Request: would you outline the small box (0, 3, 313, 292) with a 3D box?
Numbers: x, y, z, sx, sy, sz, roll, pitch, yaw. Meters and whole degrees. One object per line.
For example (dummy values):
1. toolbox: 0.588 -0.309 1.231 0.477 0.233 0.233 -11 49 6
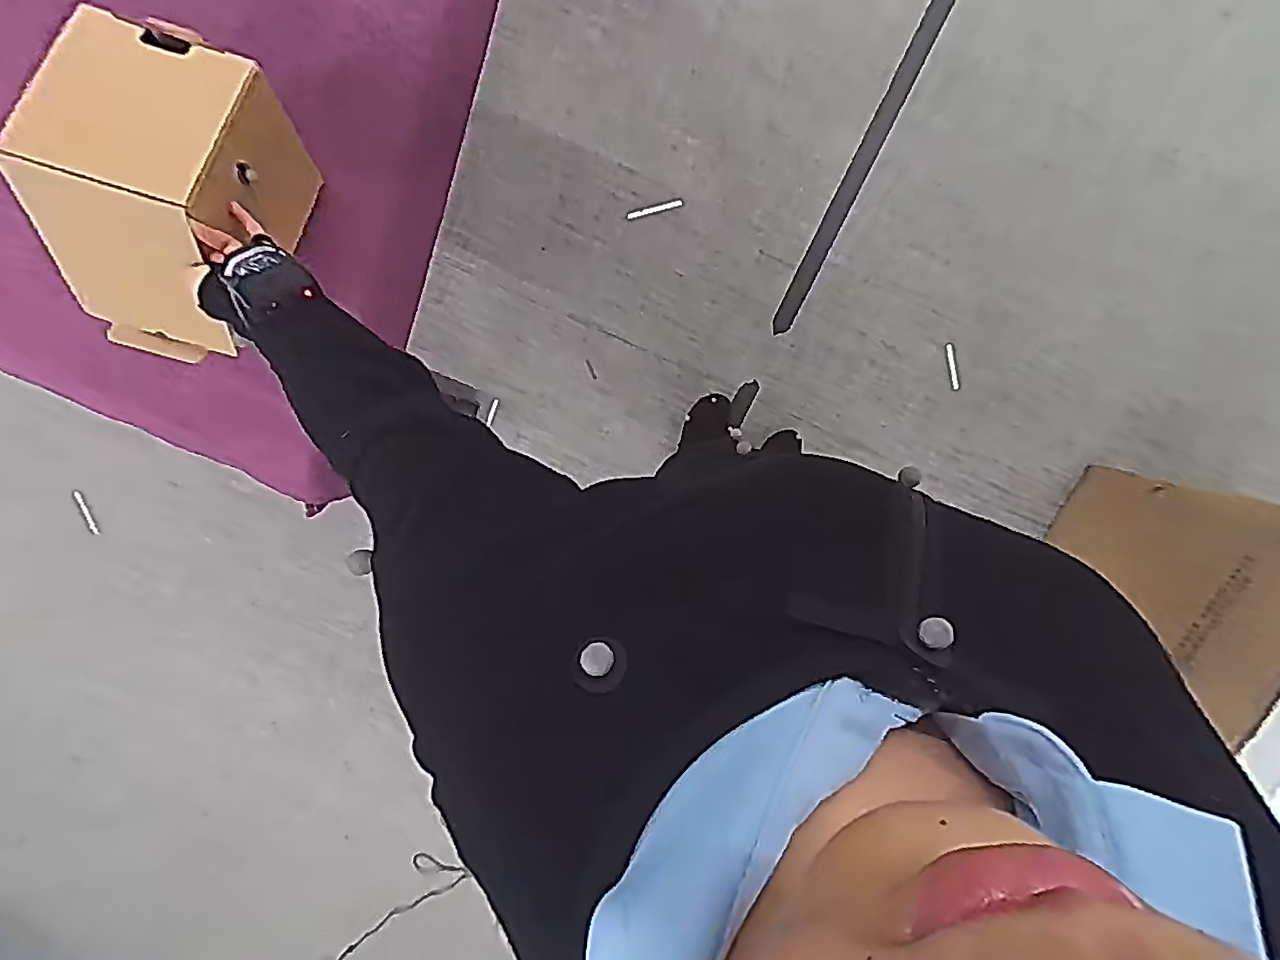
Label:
1. small box: -0.486 -0.332 0.576 0.168 0.176 0.179 15 76 -7
